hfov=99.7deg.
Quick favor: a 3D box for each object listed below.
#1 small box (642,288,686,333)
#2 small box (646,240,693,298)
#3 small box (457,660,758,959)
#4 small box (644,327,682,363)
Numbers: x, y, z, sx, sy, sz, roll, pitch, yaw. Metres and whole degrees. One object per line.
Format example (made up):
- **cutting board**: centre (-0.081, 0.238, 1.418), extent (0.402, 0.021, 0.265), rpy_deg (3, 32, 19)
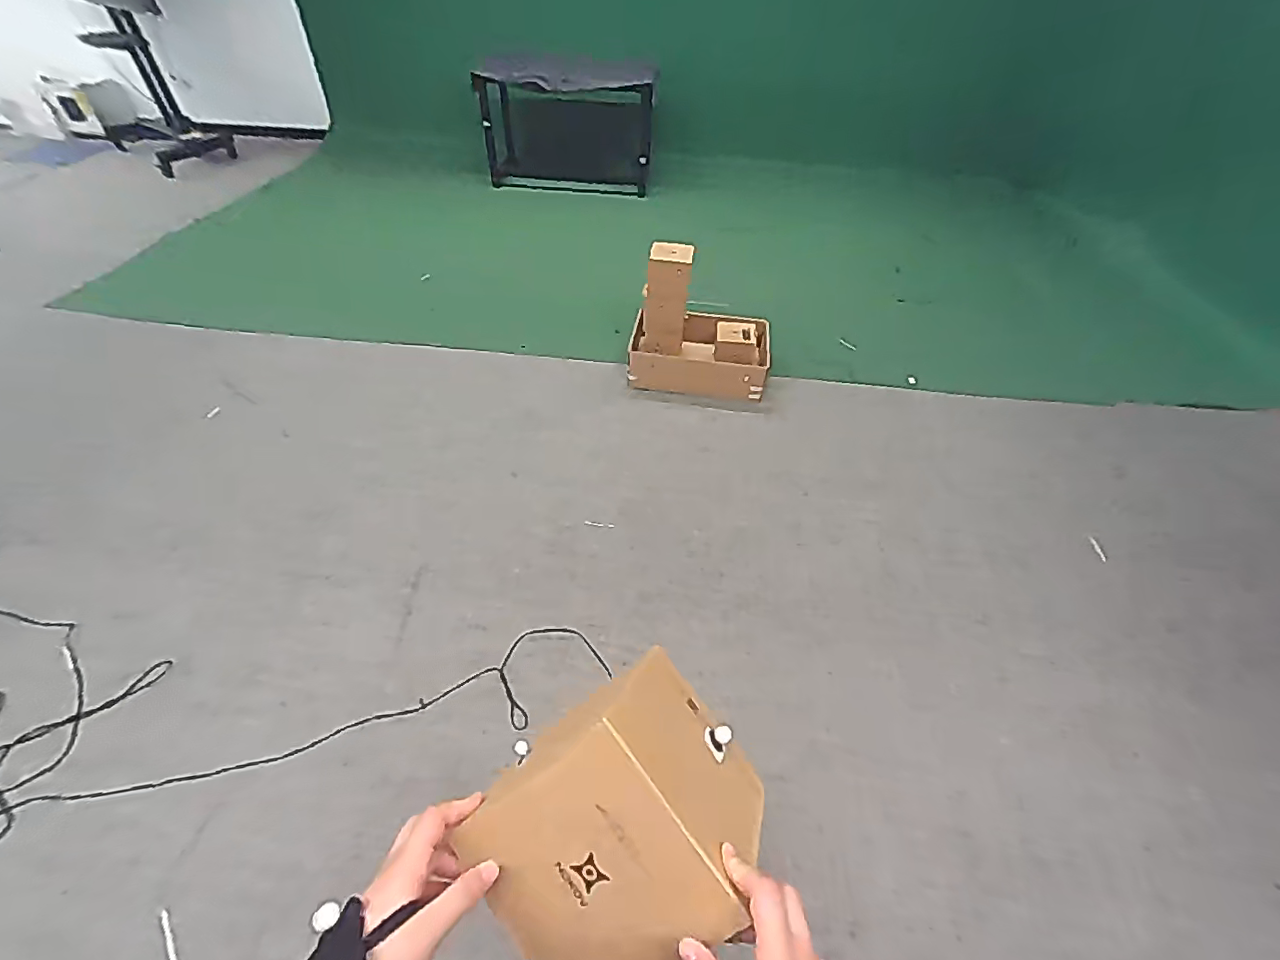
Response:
- **small box**: centre (0.107, -0.770, 2.386), extent (0.179, 0.176, 0.168), rpy_deg (8, 48, 3)
- **small box**: centre (0.123, -0.879, 2.263), extent (0.179, 0.176, 0.168), rpy_deg (7, 47, 4)
- **small box**: centre (-0.012, 0.292, 0.473), extent (0.179, 0.176, 0.168), rpy_deg (-41, 81, 12)
- **small box**: centre (0.108, -0.665, 2.513), extent (0.168, 0.176, 0.179), rpy_deg (7, 48, 3)
